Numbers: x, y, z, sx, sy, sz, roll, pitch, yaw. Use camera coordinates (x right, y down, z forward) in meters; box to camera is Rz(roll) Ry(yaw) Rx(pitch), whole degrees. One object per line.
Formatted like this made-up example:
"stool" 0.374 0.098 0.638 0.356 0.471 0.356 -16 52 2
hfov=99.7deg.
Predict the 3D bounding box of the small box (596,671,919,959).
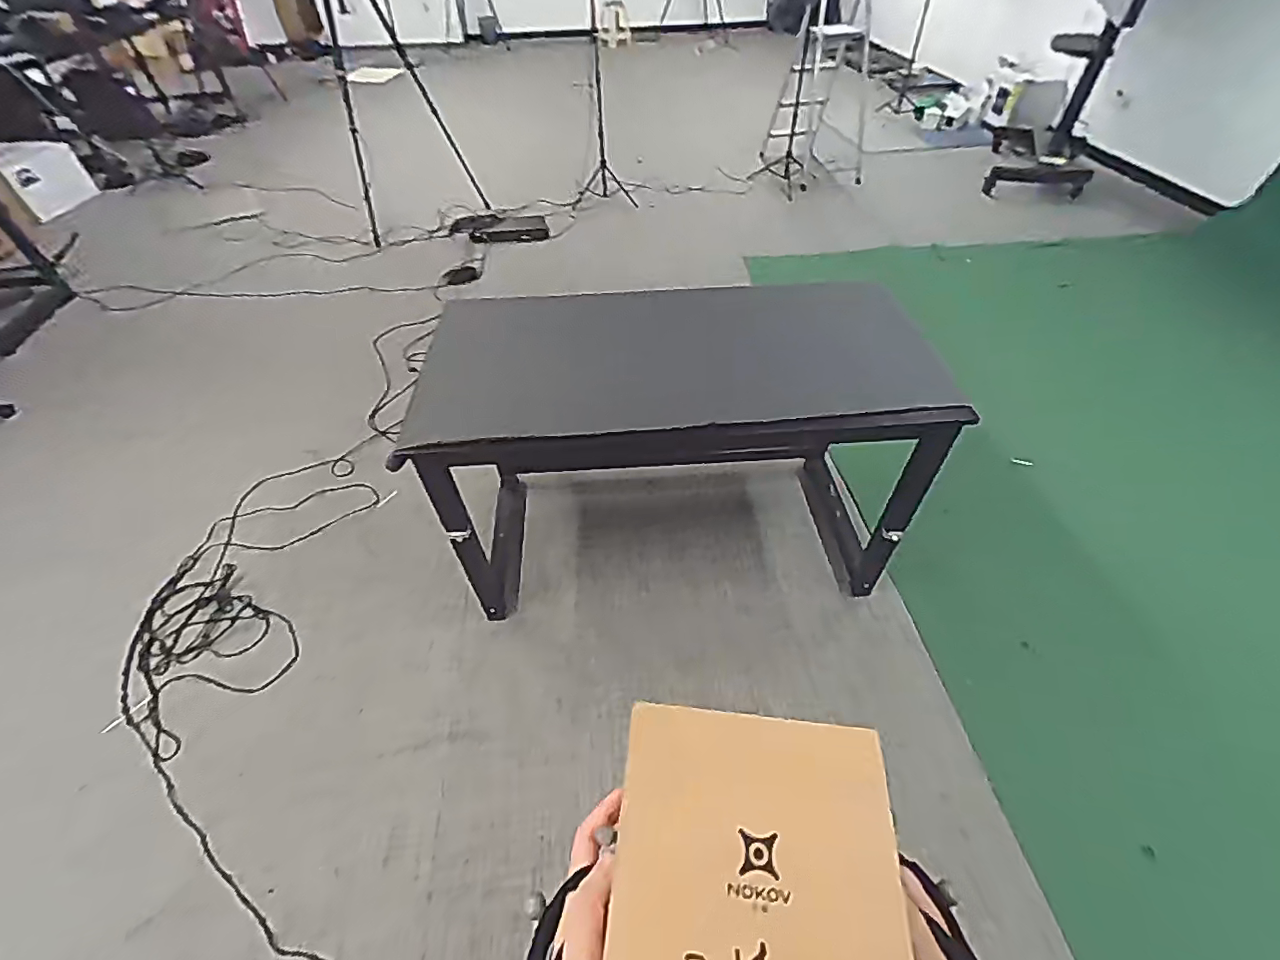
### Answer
"small box" 0.066 0.257 0.370 0.168 0.176 0.179 6 50 5
